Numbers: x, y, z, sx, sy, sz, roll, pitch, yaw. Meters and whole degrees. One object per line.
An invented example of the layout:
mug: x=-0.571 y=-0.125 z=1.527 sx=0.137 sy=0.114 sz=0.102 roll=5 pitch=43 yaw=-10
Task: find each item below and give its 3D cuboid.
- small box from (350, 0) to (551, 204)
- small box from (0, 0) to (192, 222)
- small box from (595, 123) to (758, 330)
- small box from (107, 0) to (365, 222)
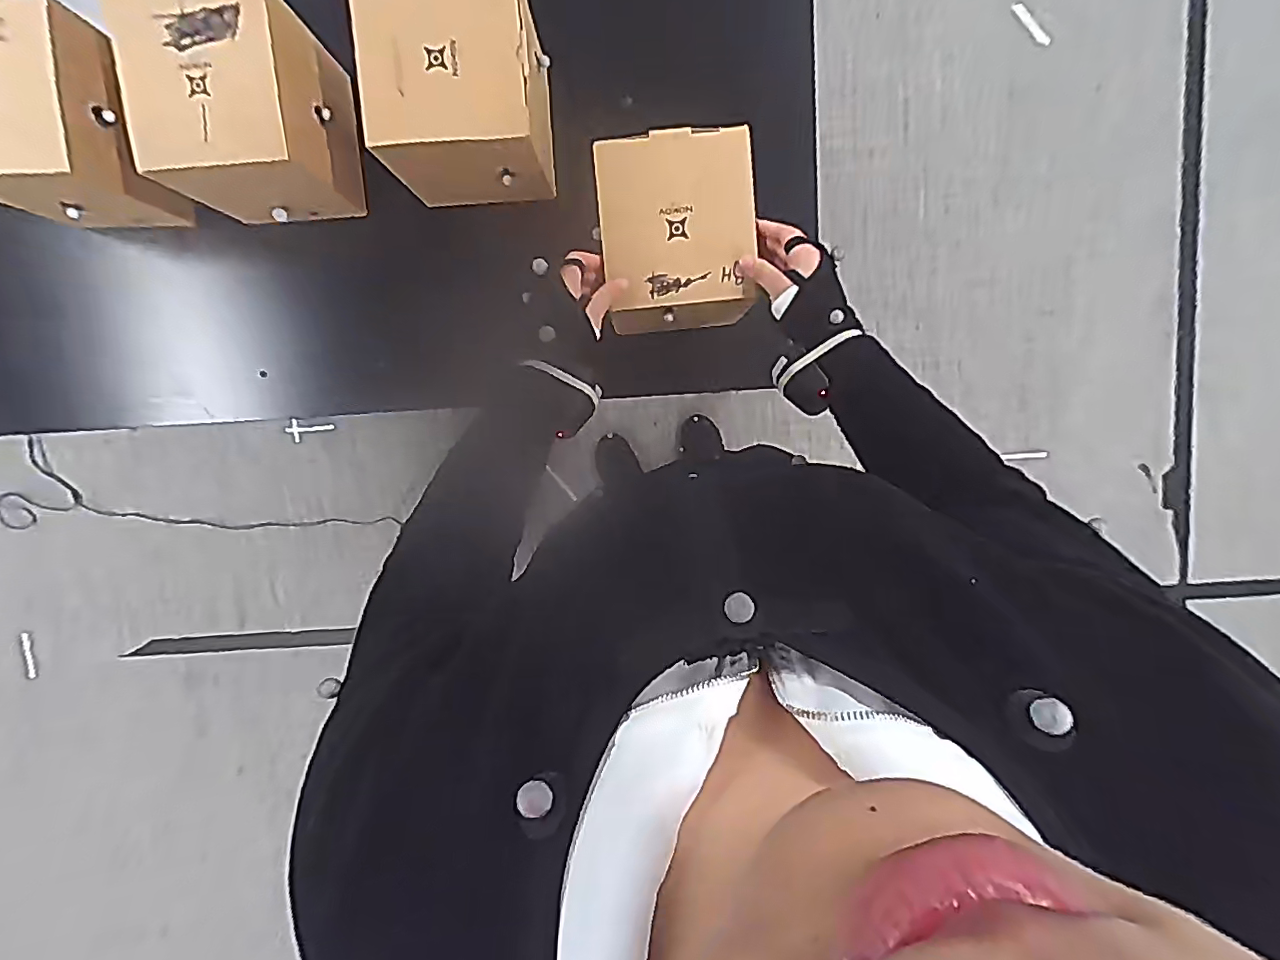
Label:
small box: x=-0.204 y=-0.444 z=0.634 sx=0.179 sy=0.176 sz=0.168 roll=-3 pitch=96 yaw=2
small box: x=-0.676 y=-0.418 z=0.637 sx=0.168 sy=0.176 sz=0.179 roll=-1 pitch=97 yaw=-1
small box: x=0.040 y=-0.288 z=0.650 sx=0.168 sy=0.176 sz=0.179 roll=-5 pitch=97 yaw=2
small box: x=-0.452 y=-0.426 z=0.635 sx=0.168 sy=0.176 sz=0.179 roll=-5 pitch=99 yaw=0
